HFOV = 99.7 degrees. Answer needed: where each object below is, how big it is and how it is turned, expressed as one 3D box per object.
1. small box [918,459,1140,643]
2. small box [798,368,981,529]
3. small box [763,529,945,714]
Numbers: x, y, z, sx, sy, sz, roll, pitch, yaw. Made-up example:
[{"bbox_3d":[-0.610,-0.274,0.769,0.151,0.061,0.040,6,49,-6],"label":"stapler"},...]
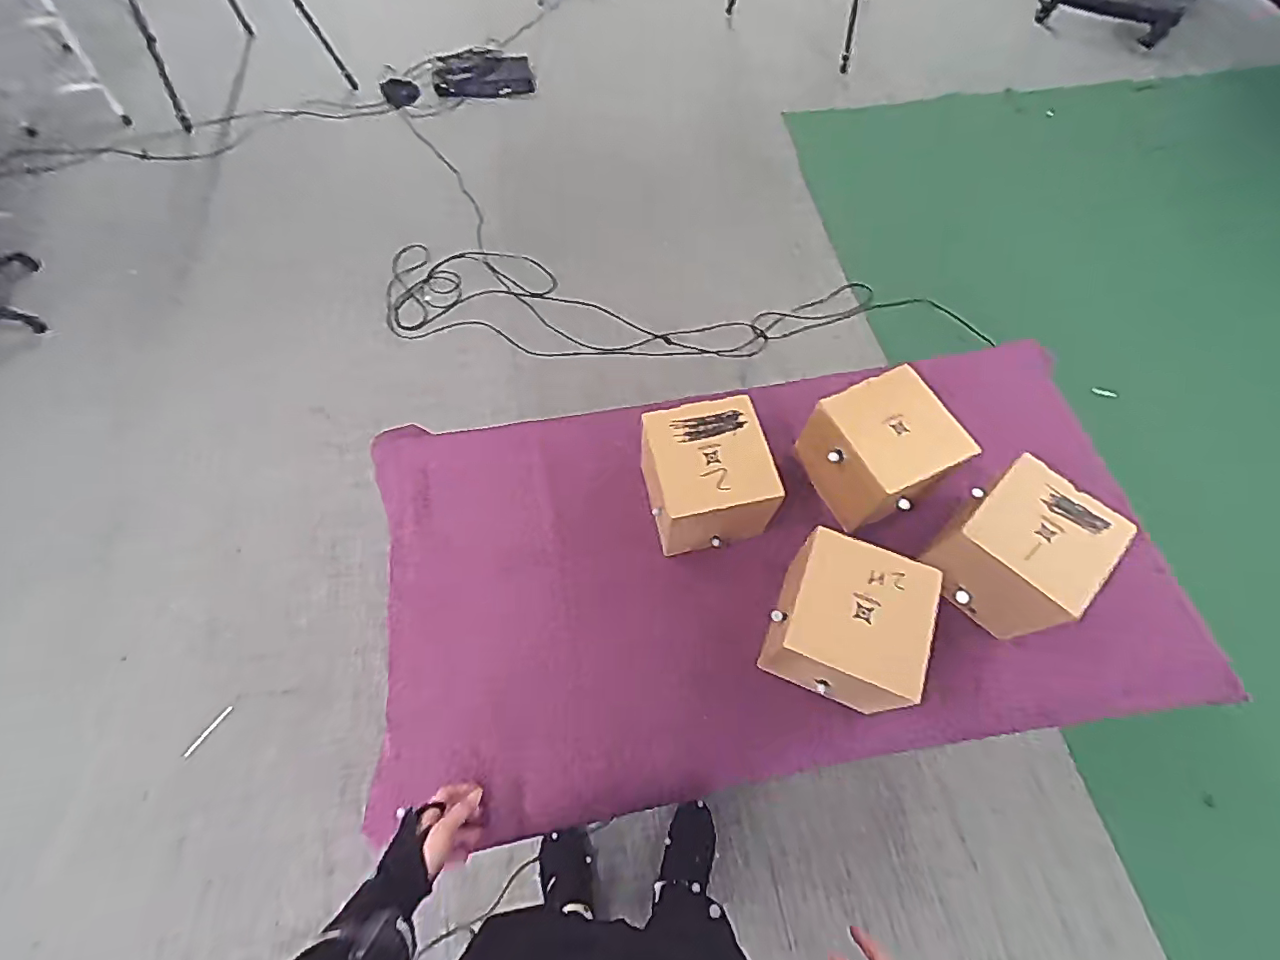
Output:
[{"bbox_3d":[0.545,0.108,0.785,0.179,0.176,0.168,-41,70,-17],"label":"small box"},{"bbox_3d":[0.380,-0.039,0.860,0.168,0.176,0.179,-23,66,-10],"label":"small box"},{"bbox_3d":[0.280,0.201,0.739,0.168,0.176,0.179,22,64,11],"label":"small box"}]
